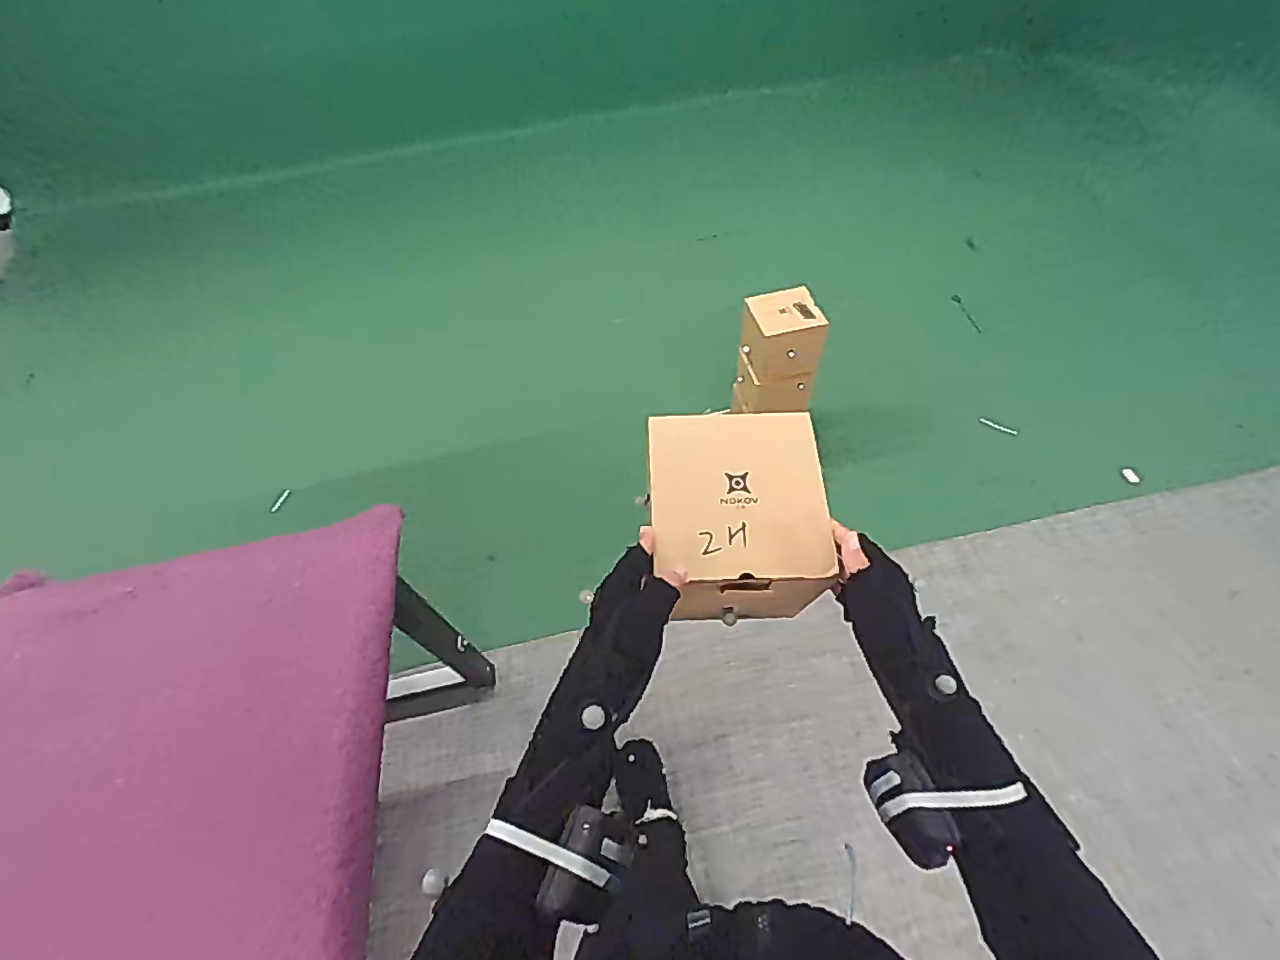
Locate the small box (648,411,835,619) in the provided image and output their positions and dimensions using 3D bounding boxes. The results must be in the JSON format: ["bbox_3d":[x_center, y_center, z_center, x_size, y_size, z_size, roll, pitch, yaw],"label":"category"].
[{"bbox_3d":[0.092,0.044,0.583,0.168,0.176,0.179,-1,64,1],"label":"small box"}]

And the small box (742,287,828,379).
[{"bbox_3d":[0.394,-0.404,1.499,0.179,0.176,0.168,-10,53,-3],"label":"small box"}]

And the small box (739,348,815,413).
[{"bbox_3d":[0.403,-0.299,1.629,0.179,0.176,0.168,-12,55,-4],"label":"small box"}]
